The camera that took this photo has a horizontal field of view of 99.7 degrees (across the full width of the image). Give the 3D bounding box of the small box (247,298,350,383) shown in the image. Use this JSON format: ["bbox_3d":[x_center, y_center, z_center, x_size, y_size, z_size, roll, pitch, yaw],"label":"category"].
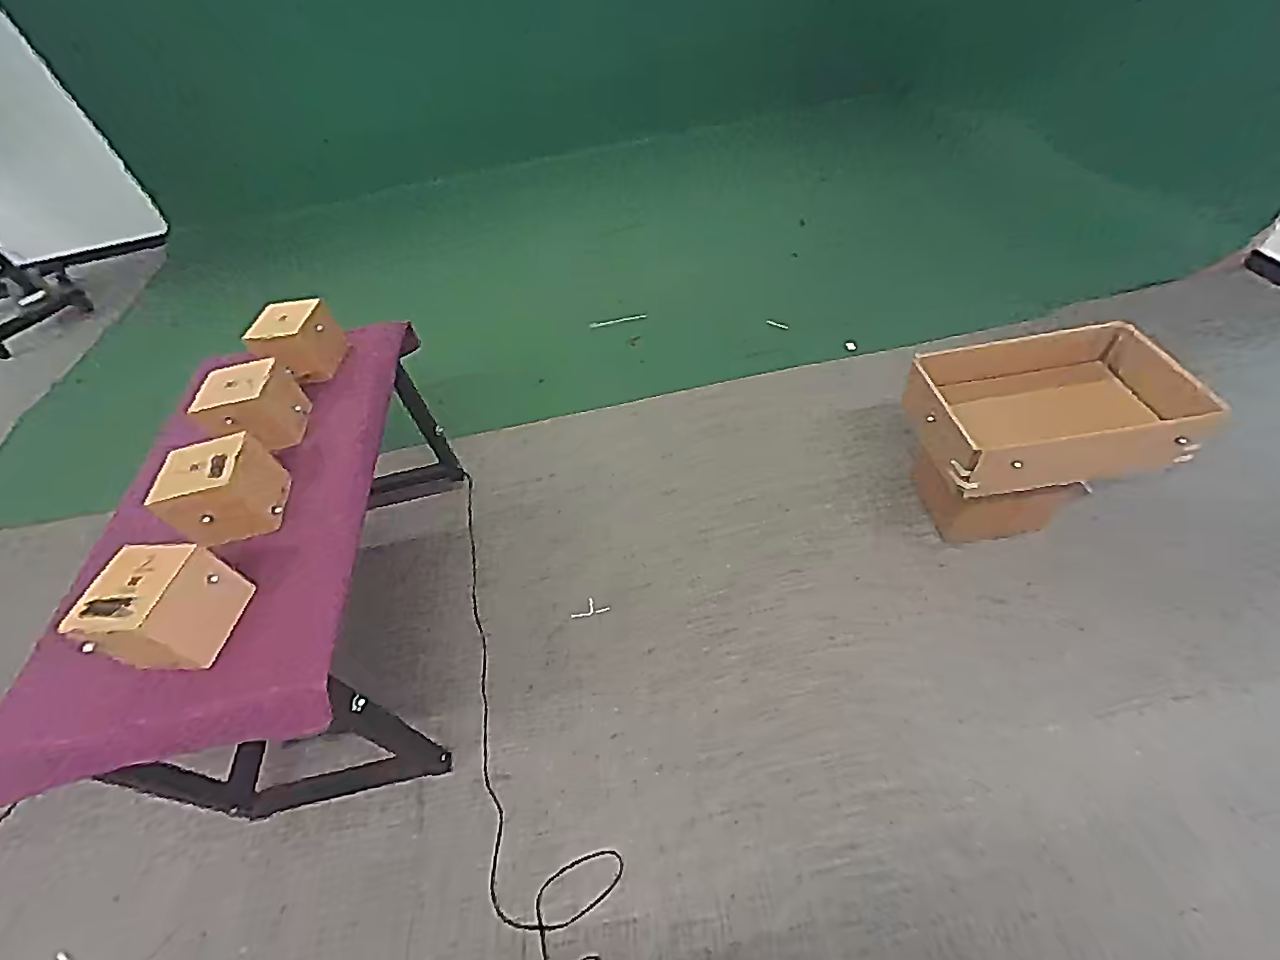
[{"bbox_3d":[-0.988,-0.406,1.587,0.168,0.176,0.179,-5,51,7],"label":"small box"}]

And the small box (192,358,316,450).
[{"bbox_3d":[-0.990,-0.187,1.404,0.179,0.176,0.168,-13,50,0],"label":"small box"}]

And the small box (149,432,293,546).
[{"bbox_3d":[-0.925,0.023,1.218,0.179,0.176,0.168,-15,49,-1],"label":"small box"}]
